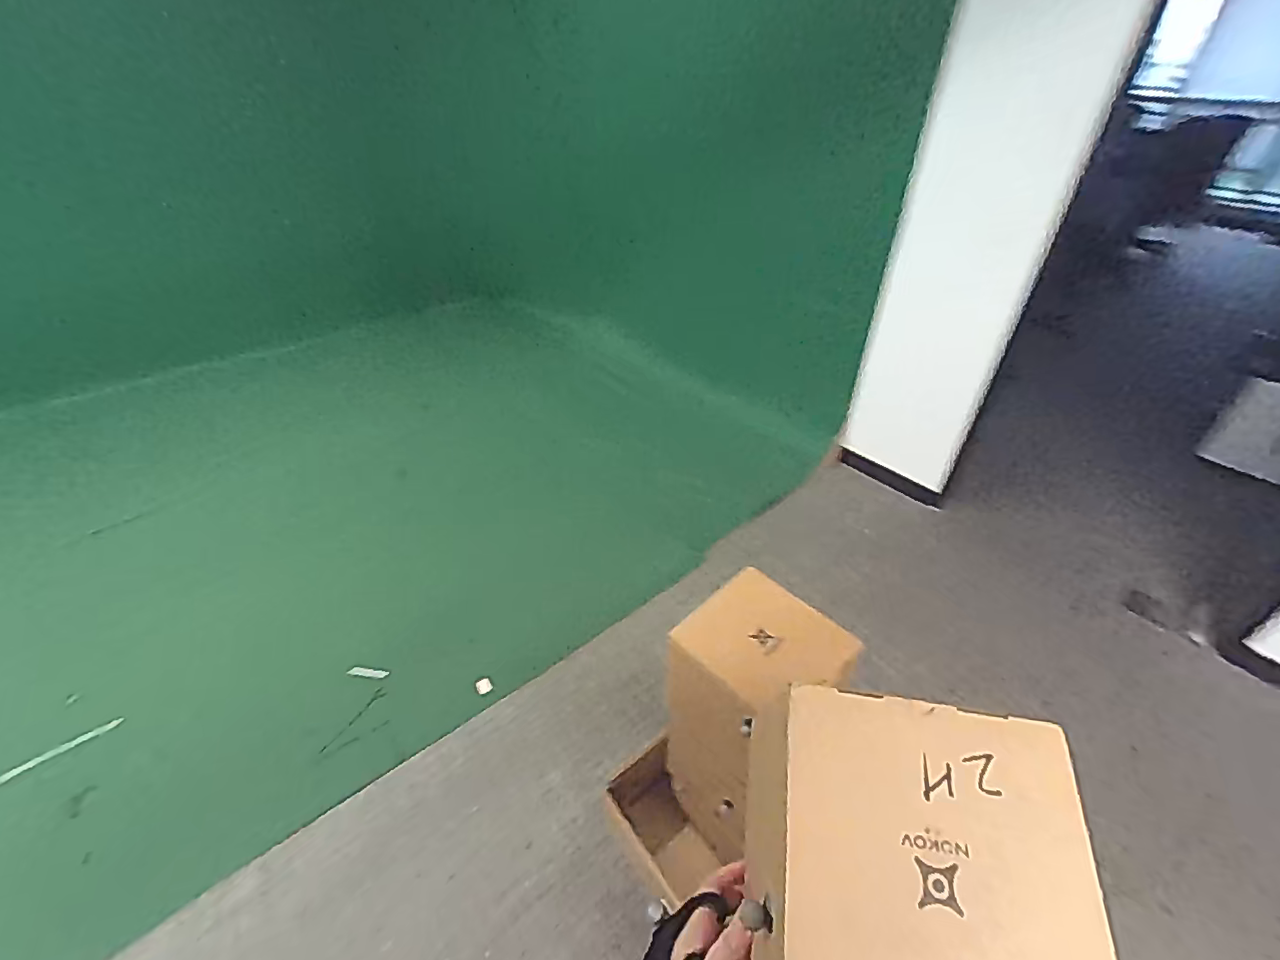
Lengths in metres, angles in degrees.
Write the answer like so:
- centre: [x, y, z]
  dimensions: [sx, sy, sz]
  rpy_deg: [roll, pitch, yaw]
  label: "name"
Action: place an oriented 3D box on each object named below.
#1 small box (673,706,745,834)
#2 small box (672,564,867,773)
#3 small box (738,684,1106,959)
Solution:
- centre: [0.166, 0.383, 0.797]
  dimensions: [0.179, 0.176, 0.168]
  rpy_deg: [-30, 48, -31]
  label: "small box"
- centre: [0.155, 0.250, 0.702]
  dimensions: [0.168, 0.176, 0.179]
  rpy_deg: [-31, 49, -32]
  label: "small box"
- centre: [0.159, 0.254, 0.360]
  dimensions: [0.168, 0.176, 0.179]
  rpy_deg: [7, 58, 6]
  label: "small box"
